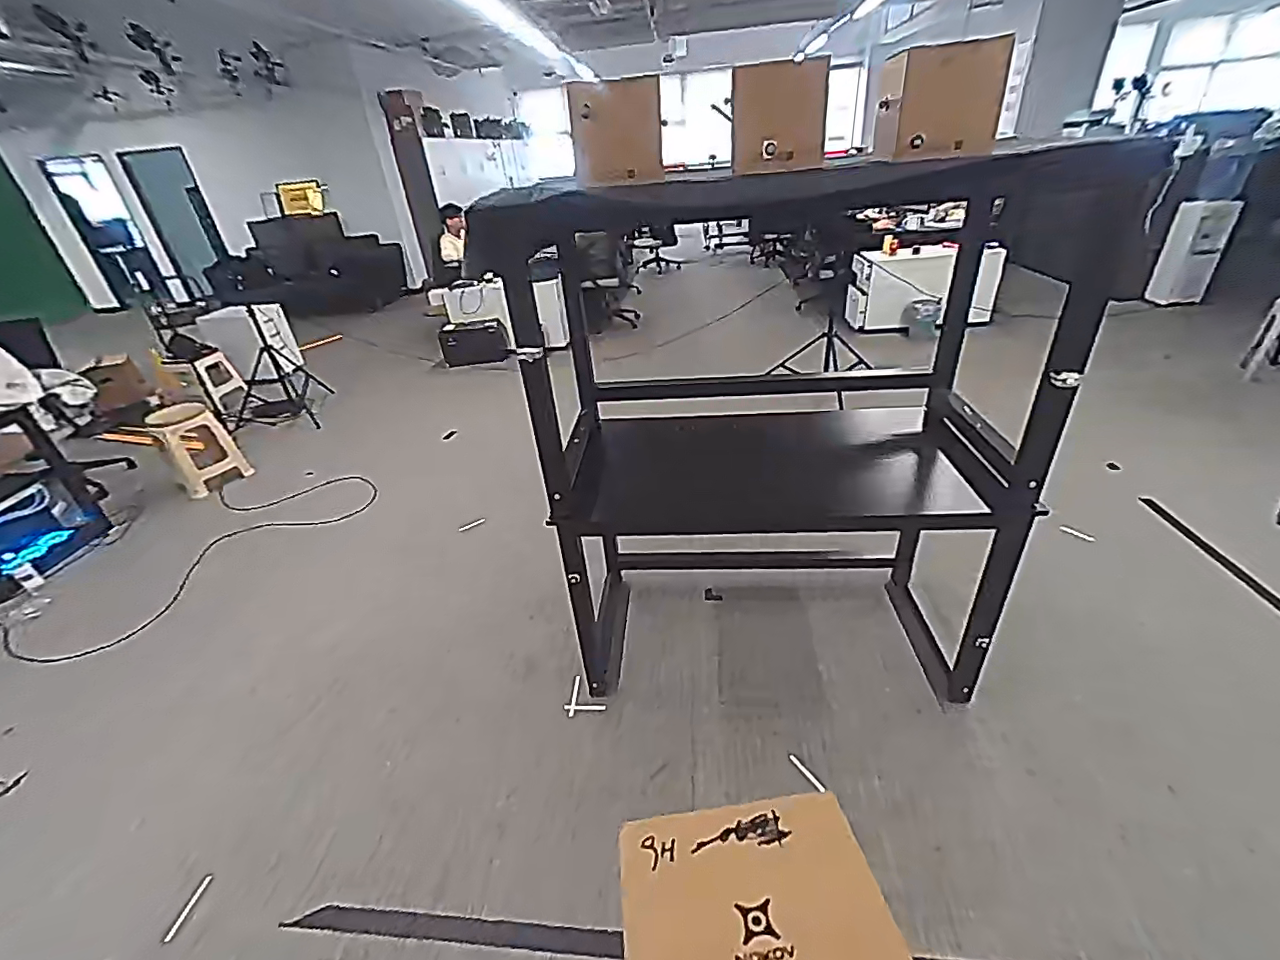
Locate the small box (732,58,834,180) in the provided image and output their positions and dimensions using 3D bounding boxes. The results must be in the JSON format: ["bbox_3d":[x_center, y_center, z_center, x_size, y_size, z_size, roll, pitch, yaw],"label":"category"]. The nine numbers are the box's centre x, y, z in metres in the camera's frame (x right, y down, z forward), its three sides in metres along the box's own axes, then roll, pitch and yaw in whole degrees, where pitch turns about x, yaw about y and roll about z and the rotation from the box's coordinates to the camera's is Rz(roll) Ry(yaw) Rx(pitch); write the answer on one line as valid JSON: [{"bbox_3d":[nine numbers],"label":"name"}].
[{"bbox_3d":[0.256,-0.660,1.007,0.168,0.176,0.179,-1,30,9],"label":"small box"}]

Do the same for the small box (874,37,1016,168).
[{"bbox_3d":[0.538,-0.672,0.981,0.168,0.176,0.179,-1,30,8],"label":"small box"}]

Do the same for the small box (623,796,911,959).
[{"bbox_3d":[0.083,0.353,0.353,0.168,0.176,0.179,-7,22,-2],"label":"small box"}]
